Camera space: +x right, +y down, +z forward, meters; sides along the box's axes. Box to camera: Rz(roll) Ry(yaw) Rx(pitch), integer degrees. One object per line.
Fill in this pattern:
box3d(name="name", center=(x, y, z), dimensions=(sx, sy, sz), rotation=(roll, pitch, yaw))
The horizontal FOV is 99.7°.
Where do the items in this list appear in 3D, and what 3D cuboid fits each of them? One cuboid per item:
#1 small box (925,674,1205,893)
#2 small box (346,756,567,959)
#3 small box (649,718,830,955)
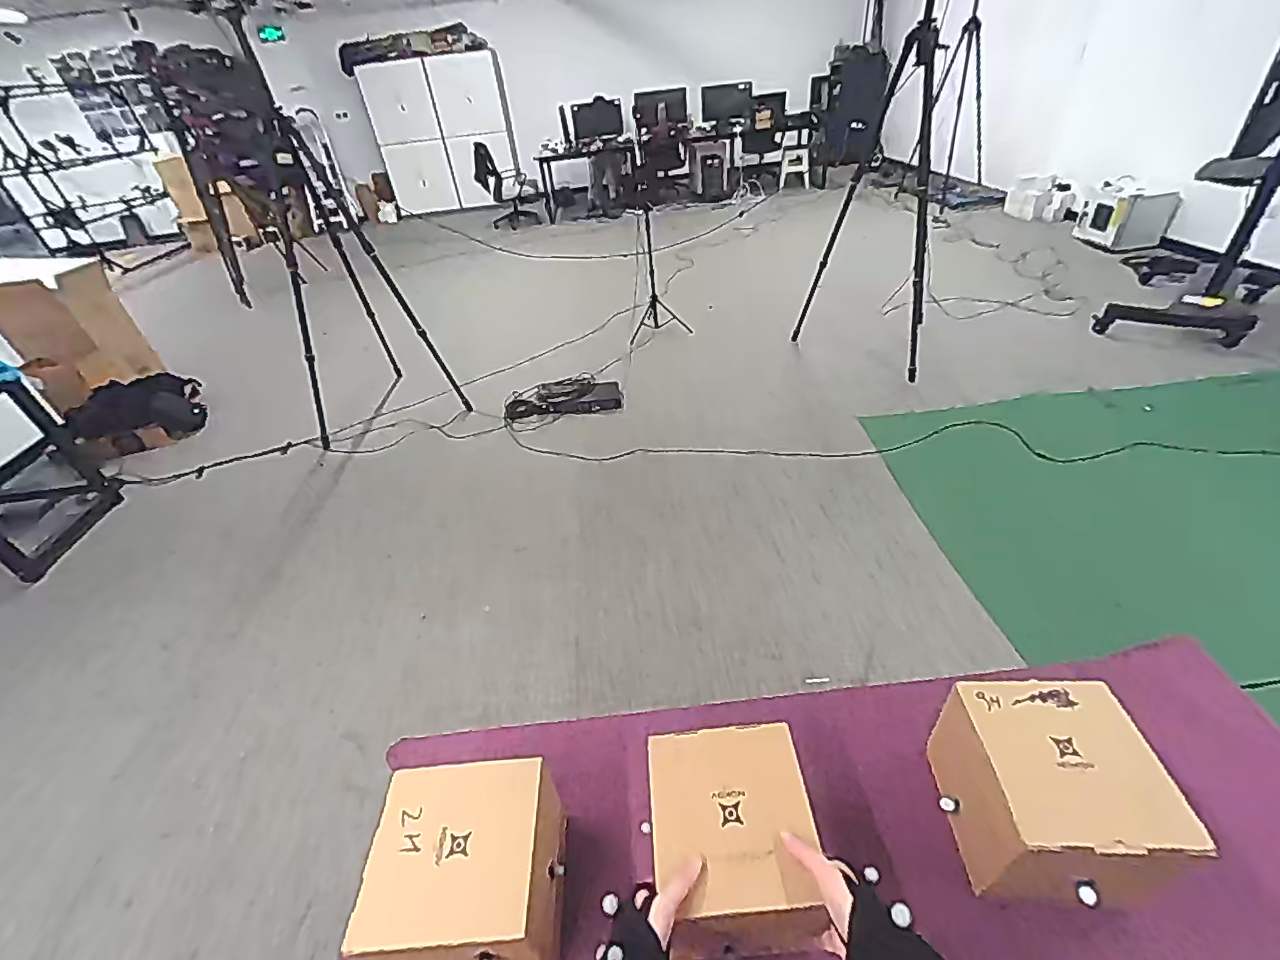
box3d(name="small box", center=(0.453, 0.344, 0.616), dimensions=(0.168, 0.176, 0.179), rotation=(-2, 39, 7))
box3d(name="small box", center=(-0.184, 0.440, 0.614), dimensions=(0.179, 0.176, 0.168), rotation=(-6, 37, 2))
box3d(name="small box", center=(0.101, 0.401, 0.614), dimensions=(0.168, 0.176, 0.179), rotation=(-7, 38, 3))
